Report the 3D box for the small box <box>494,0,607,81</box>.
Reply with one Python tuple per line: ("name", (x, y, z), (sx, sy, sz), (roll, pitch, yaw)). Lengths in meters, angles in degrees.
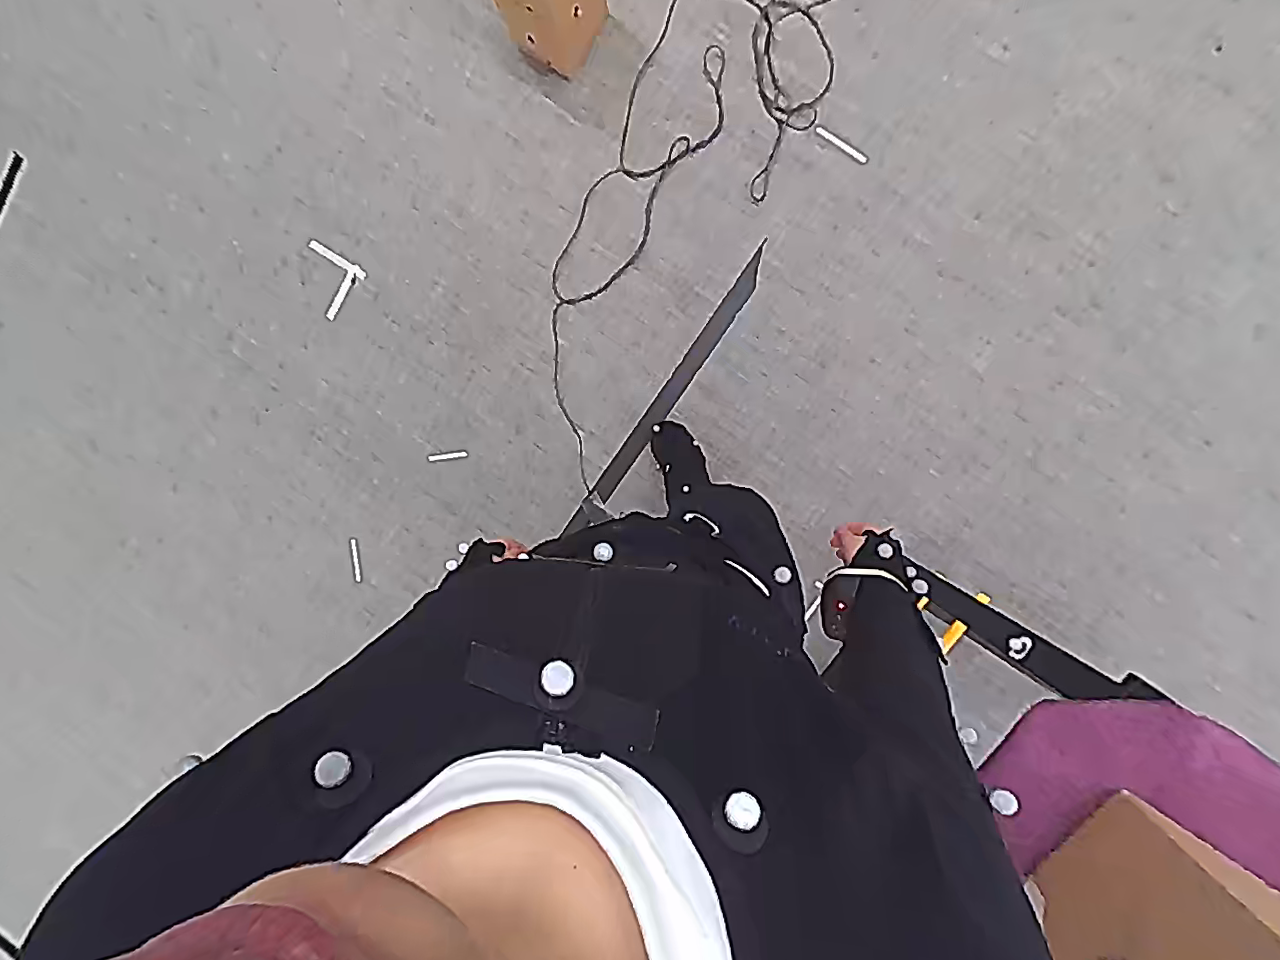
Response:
("small box", (-0.192, -1.063, 1.222), (0.168, 0.176, 0.179), (33, 97, 3))
